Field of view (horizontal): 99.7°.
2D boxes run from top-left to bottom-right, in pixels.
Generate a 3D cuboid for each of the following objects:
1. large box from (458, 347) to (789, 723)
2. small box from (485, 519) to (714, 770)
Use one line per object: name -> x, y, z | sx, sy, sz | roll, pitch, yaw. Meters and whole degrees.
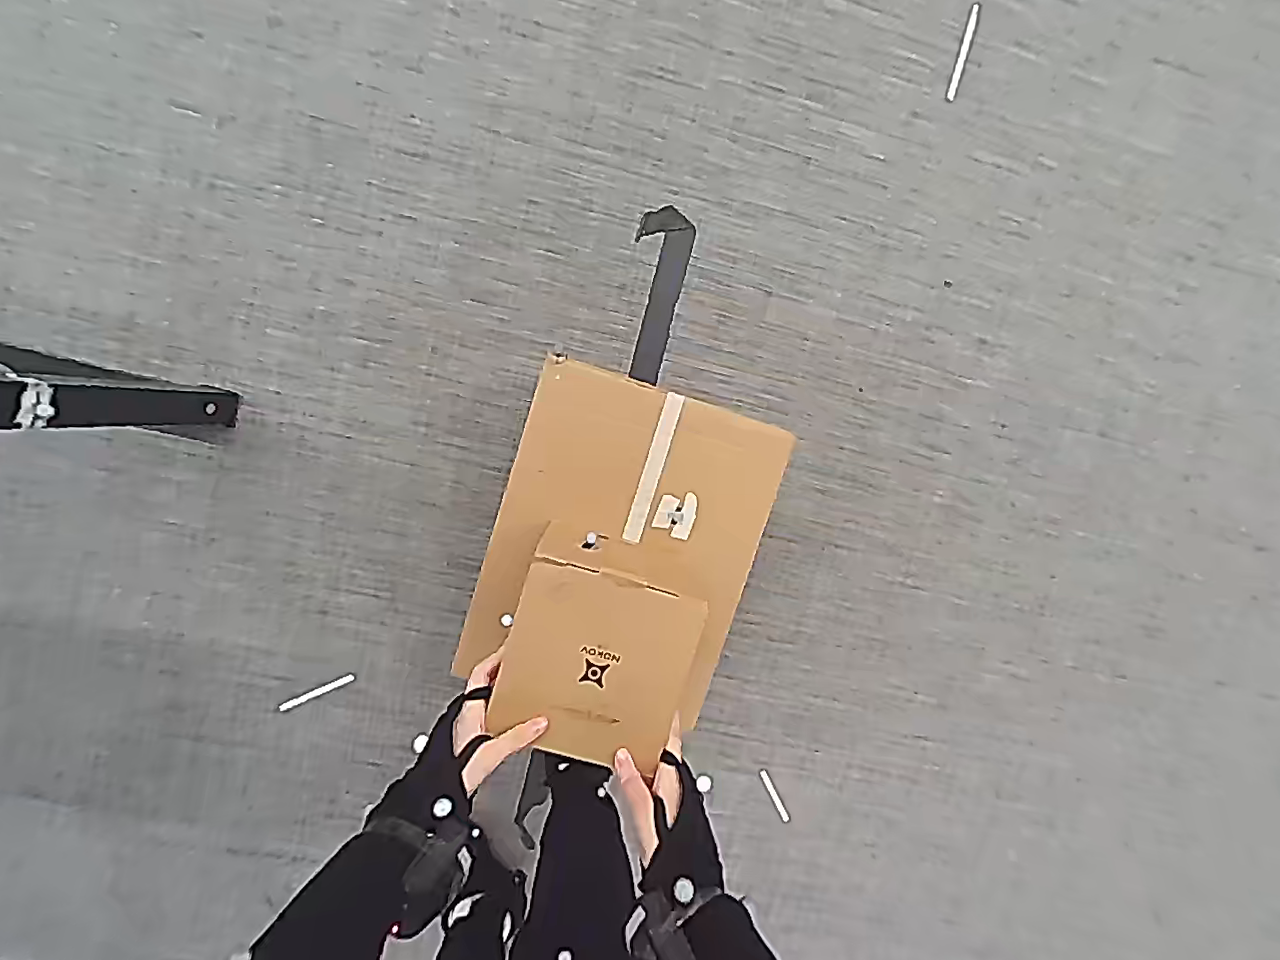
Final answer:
large box -> -0.031, 0.064, 0.800 | 0.320, 0.320, 0.408 | 17, 94, -7
small box -> -0.041, 0.152, 0.561 | 0.168, 0.176, 0.179 | 18, 95, -4
